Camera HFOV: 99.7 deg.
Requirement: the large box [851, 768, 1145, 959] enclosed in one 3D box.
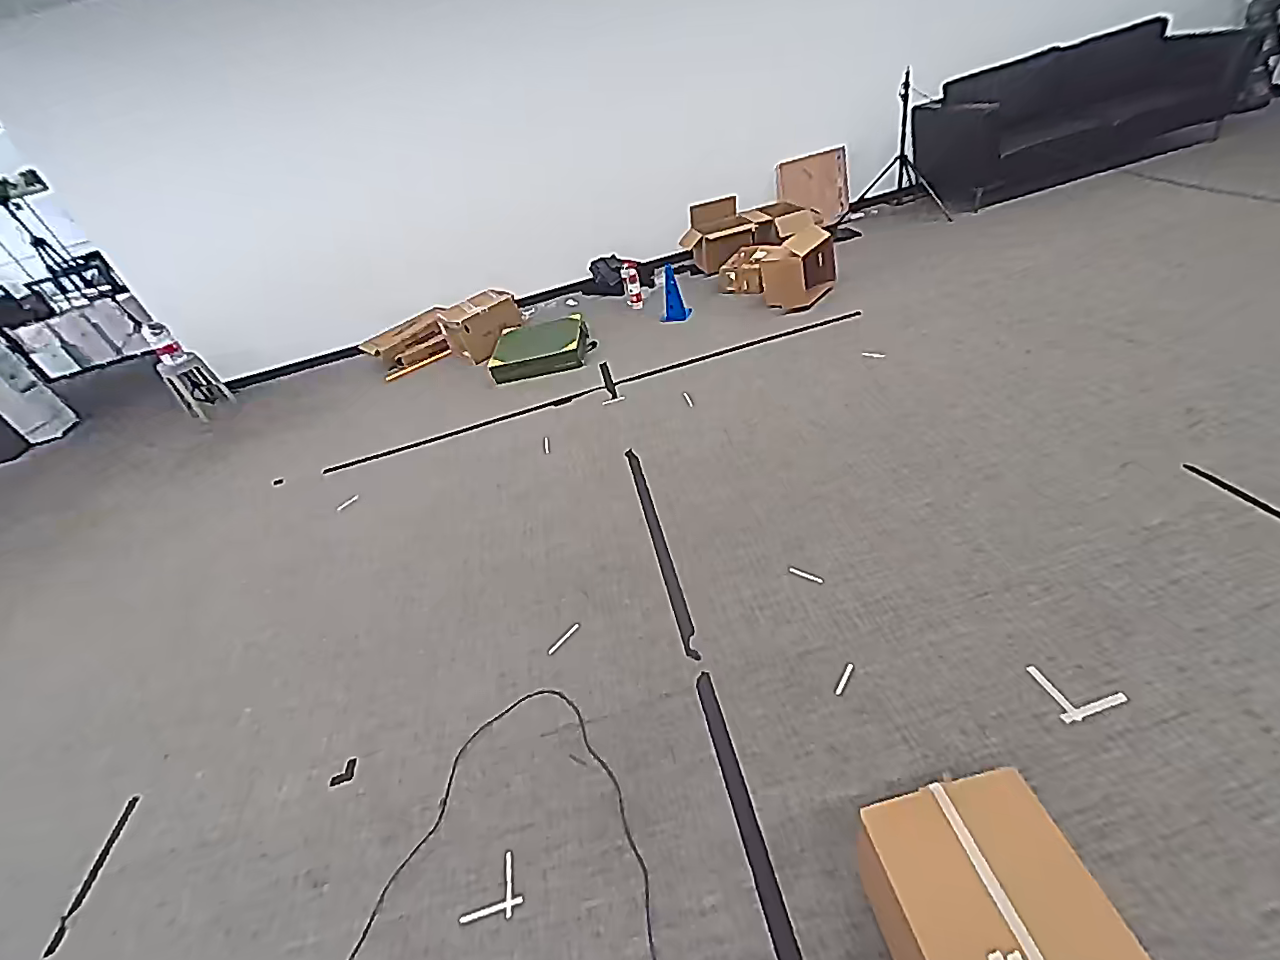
[{"bbox_3d":[0.625,0.821,0.974,0.320,0.320,0.408,-16,38,0],"label":"large box"}]
